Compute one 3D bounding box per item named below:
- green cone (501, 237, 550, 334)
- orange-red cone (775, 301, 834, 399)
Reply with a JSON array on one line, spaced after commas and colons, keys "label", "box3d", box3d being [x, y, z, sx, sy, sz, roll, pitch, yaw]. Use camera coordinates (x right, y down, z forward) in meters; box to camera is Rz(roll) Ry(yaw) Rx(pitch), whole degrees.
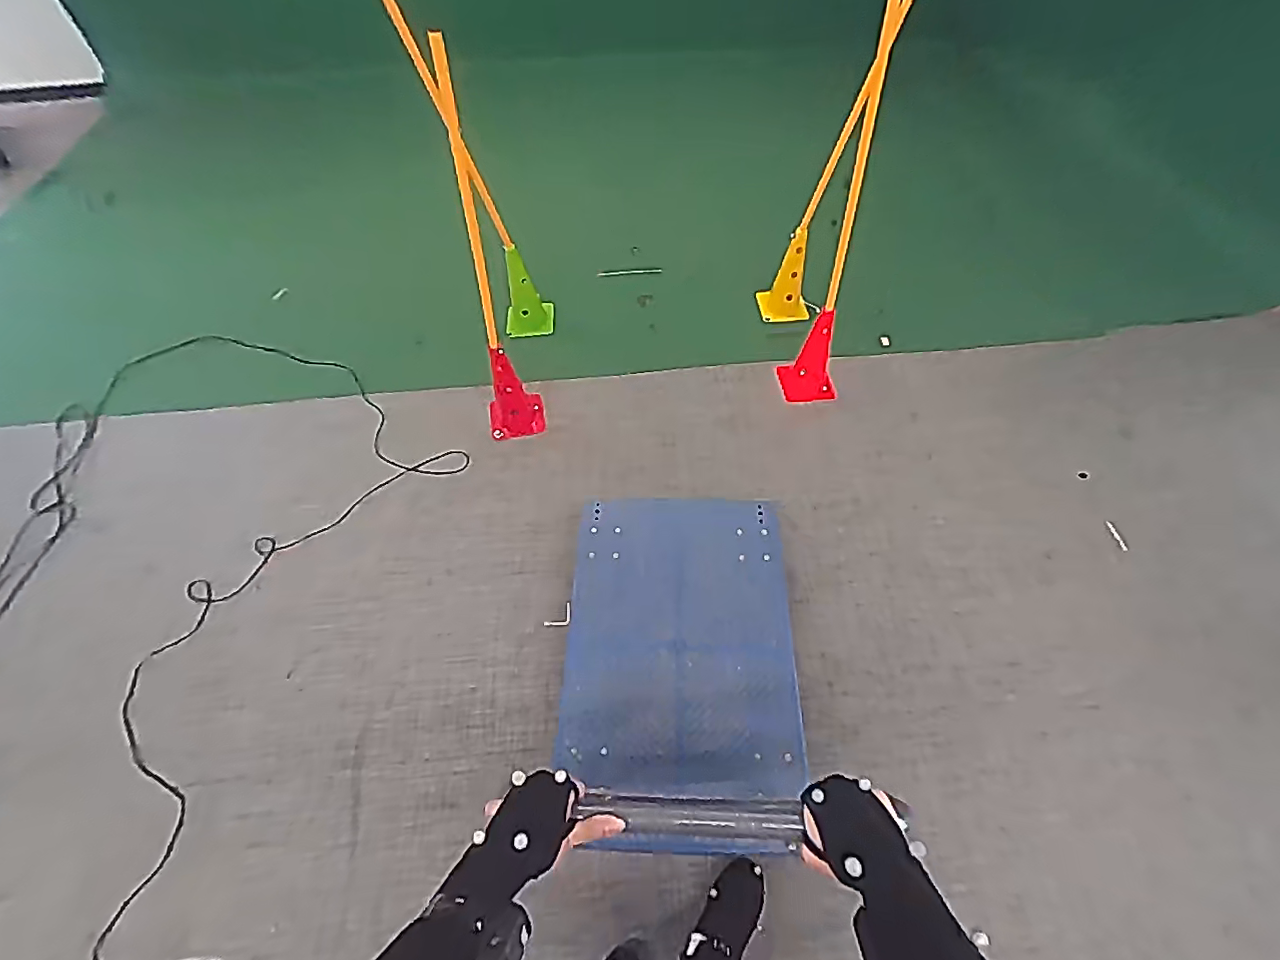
[{"label": "green cone", "box3d": [-0.492, -0.799, 2.183, 0.200, 0.368, 0.202, -5, 55, -1]}, {"label": "orange-red cone", "box3d": [0.631, -0.485, 1.946, 0.198, 0.360, 0.199, -4, 54, -2]}]
